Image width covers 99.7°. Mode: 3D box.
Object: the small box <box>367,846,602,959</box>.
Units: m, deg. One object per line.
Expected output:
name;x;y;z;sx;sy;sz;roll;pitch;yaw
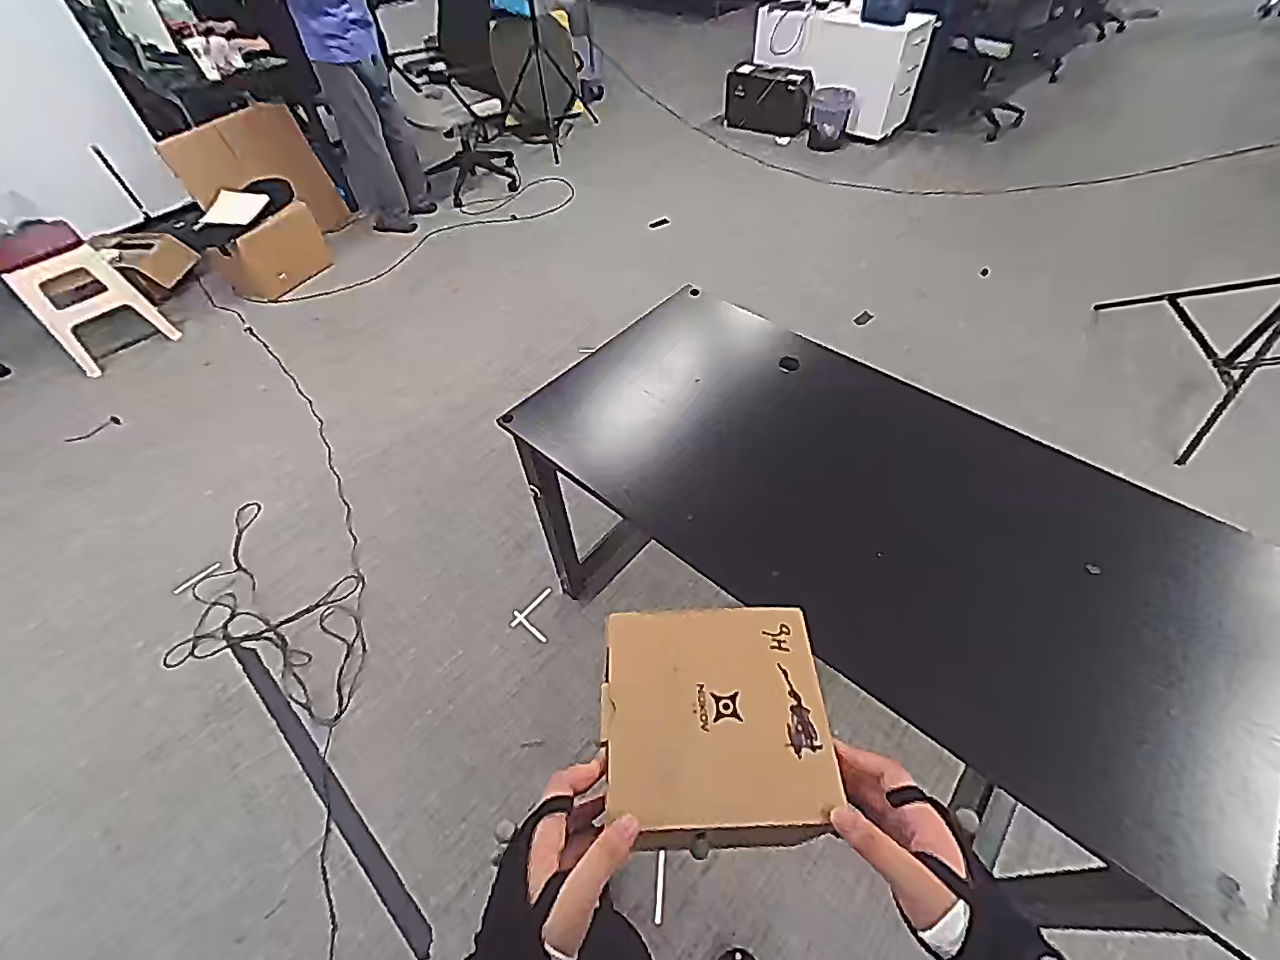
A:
small box;-0.117;0.380;0.329;0.179;0.168;0.176;-7;45;-48
